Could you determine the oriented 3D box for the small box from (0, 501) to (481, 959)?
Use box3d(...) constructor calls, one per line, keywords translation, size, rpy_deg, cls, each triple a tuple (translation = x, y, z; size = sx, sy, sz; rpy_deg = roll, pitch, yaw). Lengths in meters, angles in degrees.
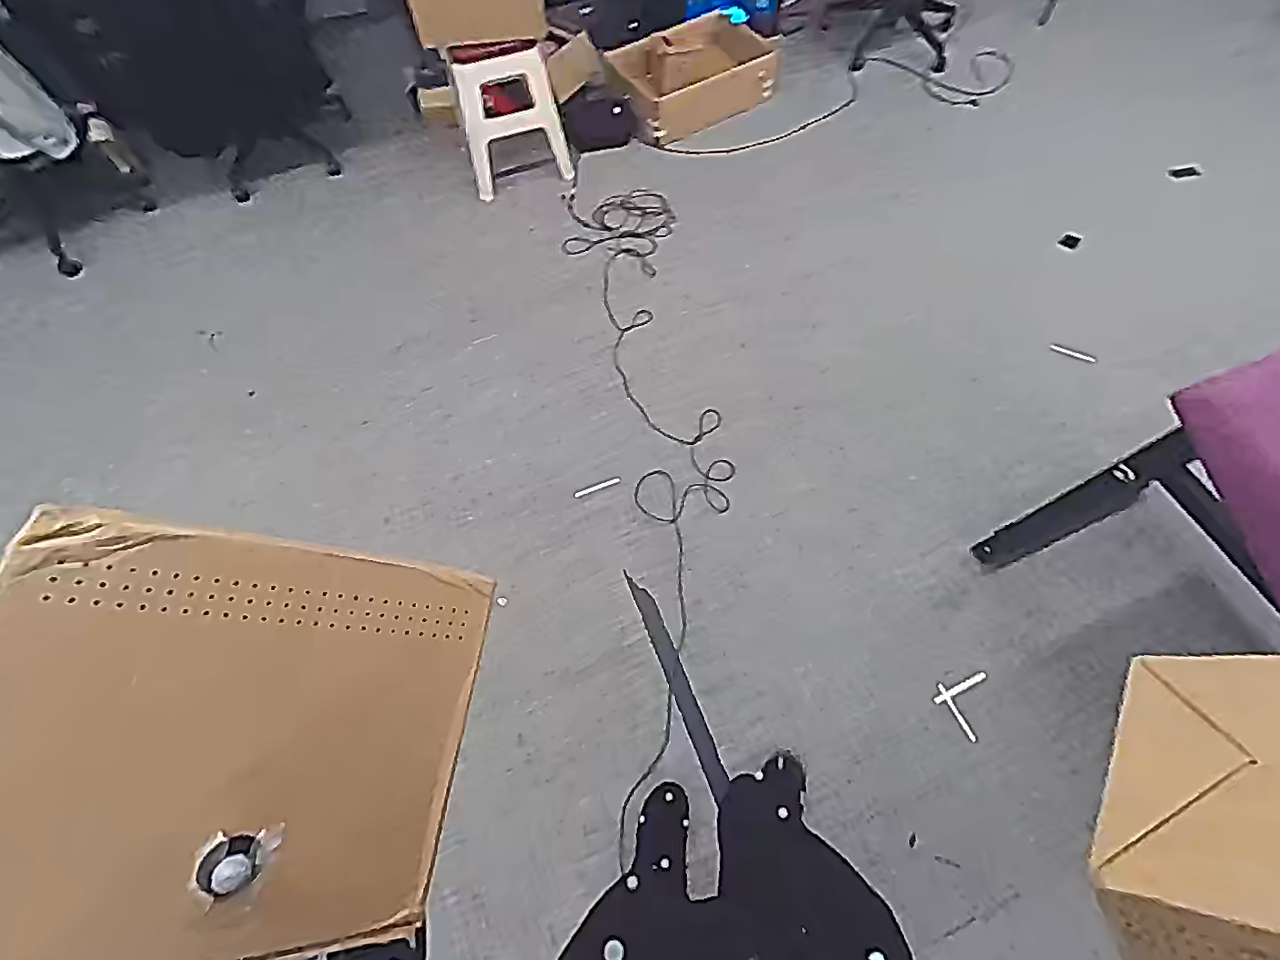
box3d(translation=(-0.204, 0.111, 0.287), size=(0.179, 0.168, 0.176), rpy_deg=(18, 74, -33), cls="small box")
